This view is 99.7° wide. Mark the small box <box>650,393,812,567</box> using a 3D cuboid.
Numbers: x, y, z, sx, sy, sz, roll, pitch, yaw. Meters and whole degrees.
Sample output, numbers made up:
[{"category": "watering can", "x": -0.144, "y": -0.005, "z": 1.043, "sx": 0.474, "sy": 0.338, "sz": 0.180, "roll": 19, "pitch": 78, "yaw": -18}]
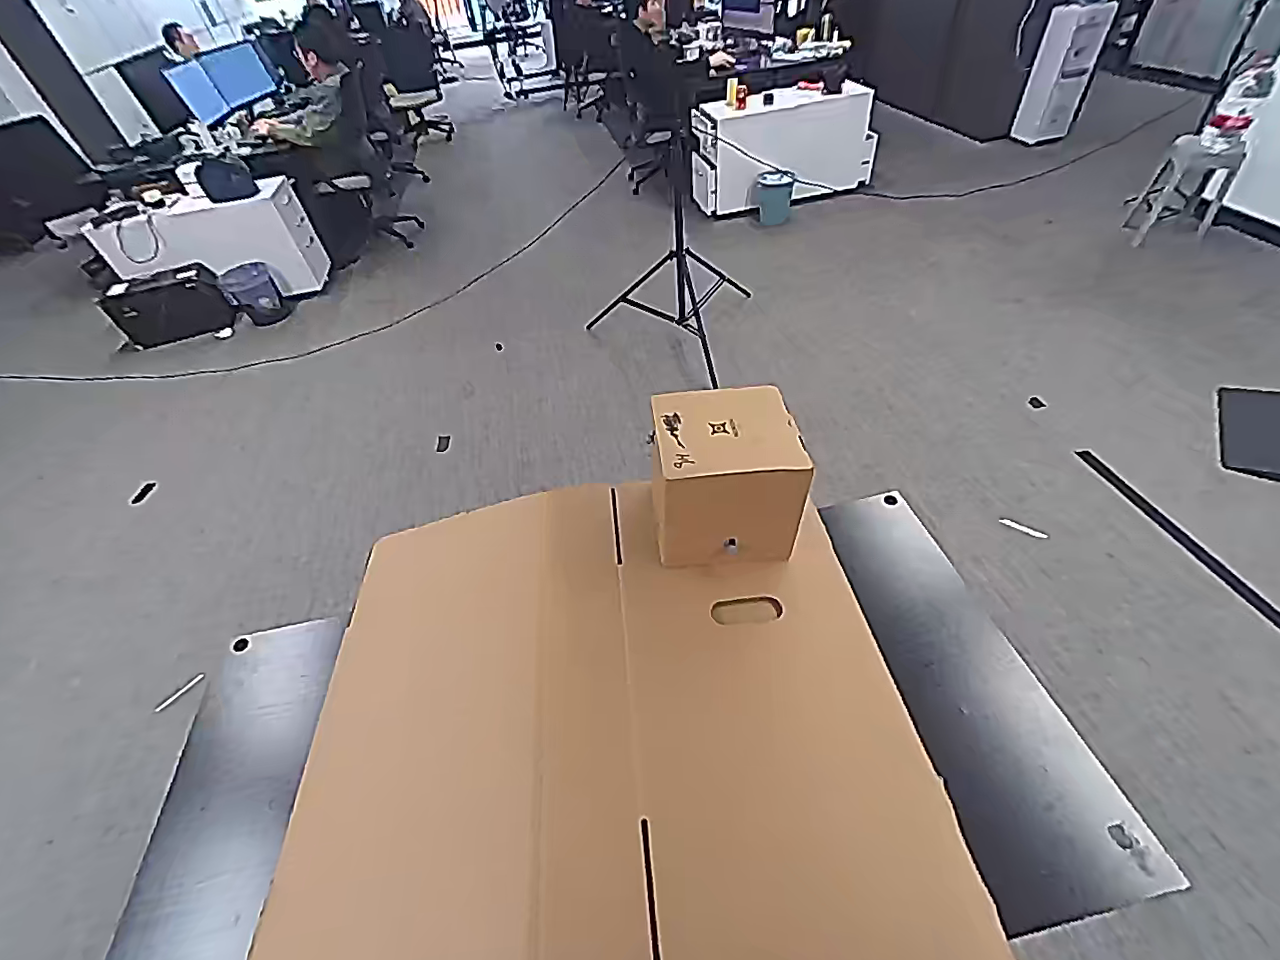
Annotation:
[{"category": "small box", "x": 0.107, "y": 0.001, "z": 0.731, "sx": 0.179, "sy": 0.176, "sz": 0.168, "roll": -4, "pitch": 43, "yaw": -3}]
